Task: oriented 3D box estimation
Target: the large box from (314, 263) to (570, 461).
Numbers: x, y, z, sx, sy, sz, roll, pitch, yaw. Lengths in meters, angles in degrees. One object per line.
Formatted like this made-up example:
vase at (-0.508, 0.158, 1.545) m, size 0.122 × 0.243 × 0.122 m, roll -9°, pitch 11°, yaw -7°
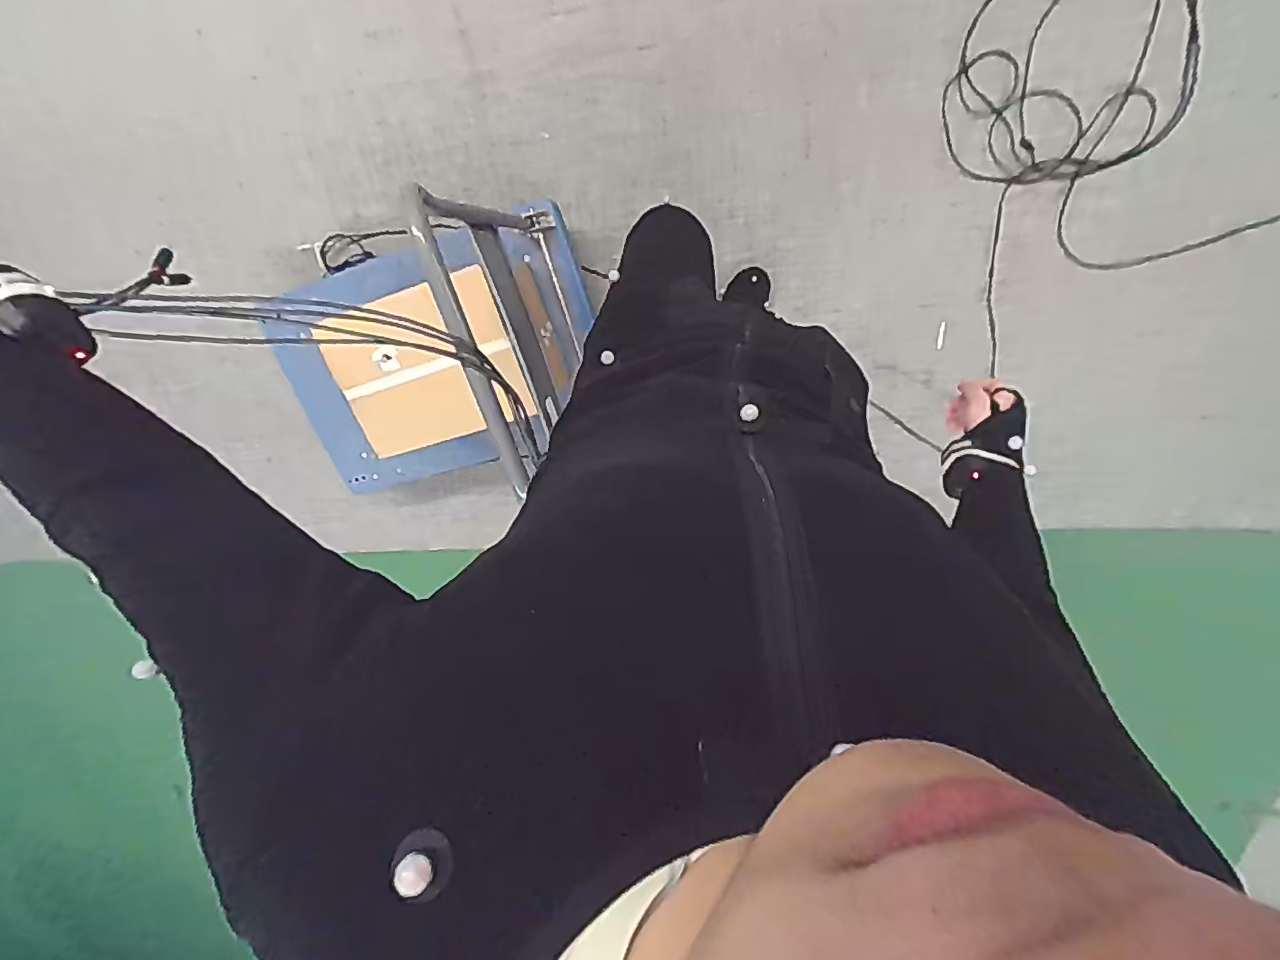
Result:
large box at (-0.428, -0.284, 1.262) m, size 0.408 × 0.320 × 0.320 m, roll -14°, pitch 110°, yaw 13°
